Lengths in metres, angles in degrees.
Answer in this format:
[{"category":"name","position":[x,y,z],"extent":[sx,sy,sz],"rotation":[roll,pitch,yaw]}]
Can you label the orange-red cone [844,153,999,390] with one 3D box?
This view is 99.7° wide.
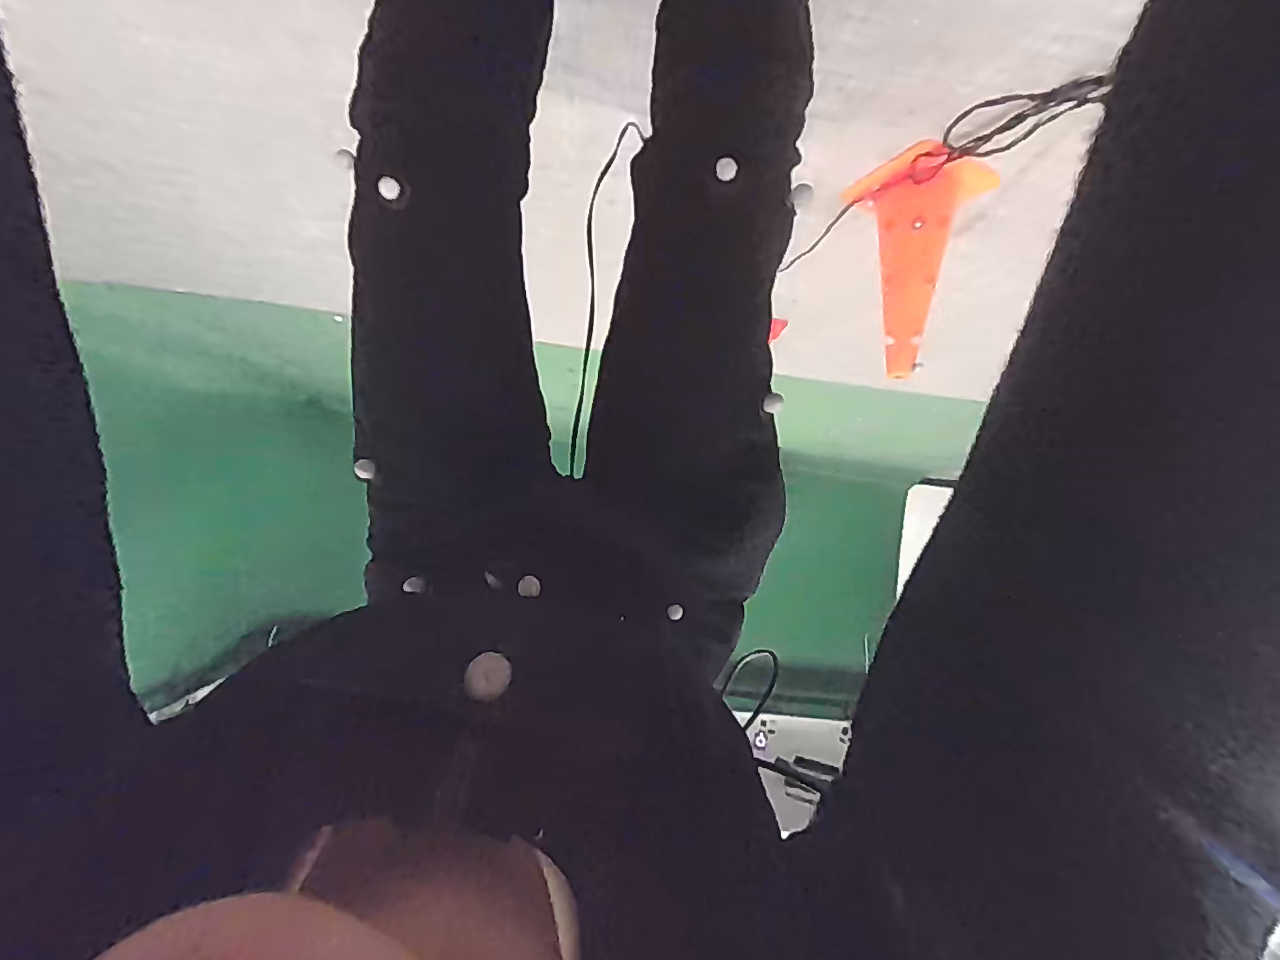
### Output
[{"category":"orange-red cone","position":[0.484,-0.341,0.967],"extent":[0.199,0.360,0.198],"rotation":[7,177,-24]}]
